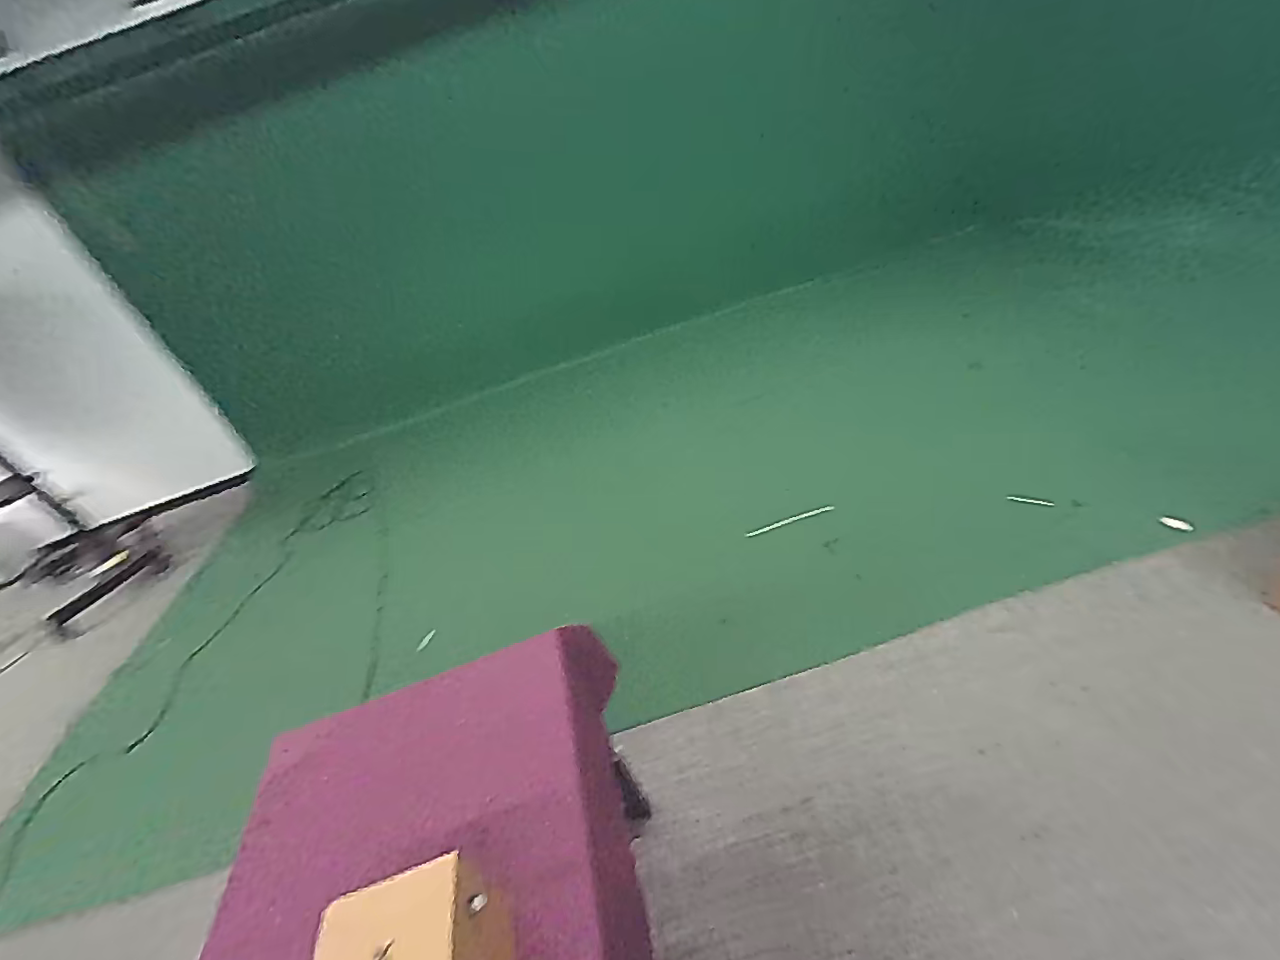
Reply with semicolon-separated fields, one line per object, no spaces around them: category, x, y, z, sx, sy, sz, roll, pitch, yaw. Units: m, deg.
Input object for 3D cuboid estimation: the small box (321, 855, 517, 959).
small box;-0.252;0.590;0.629;0.168;0.176;0.179;-22;35;-2
